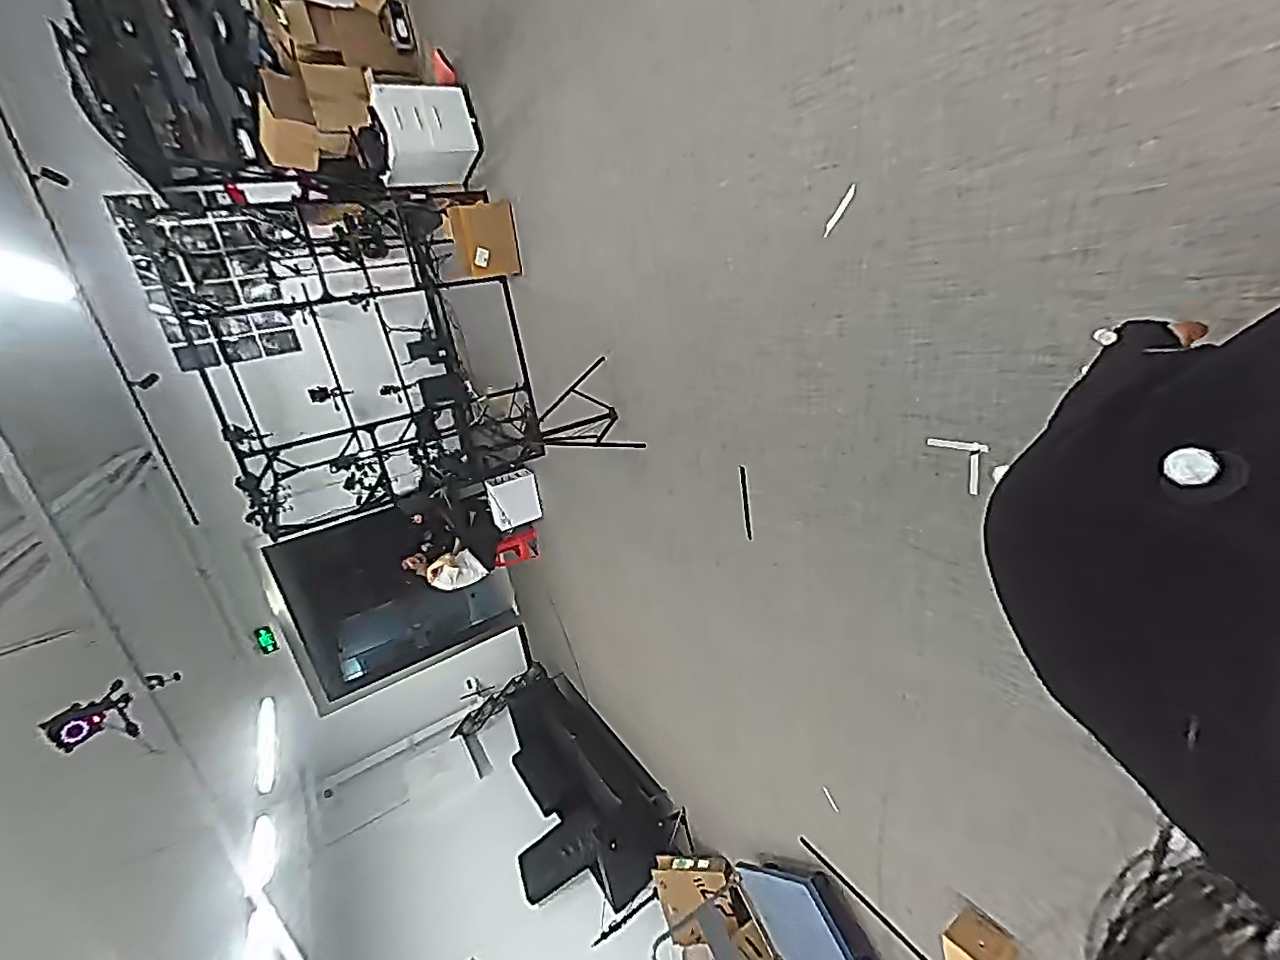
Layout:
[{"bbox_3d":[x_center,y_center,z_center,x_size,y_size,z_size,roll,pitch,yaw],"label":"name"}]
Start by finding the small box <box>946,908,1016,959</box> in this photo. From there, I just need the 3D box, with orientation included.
[{"bbox_3d":[1.270,1.760,2.009,0.168,0.176,0.179,11,118,58],"label":"small box"}]
